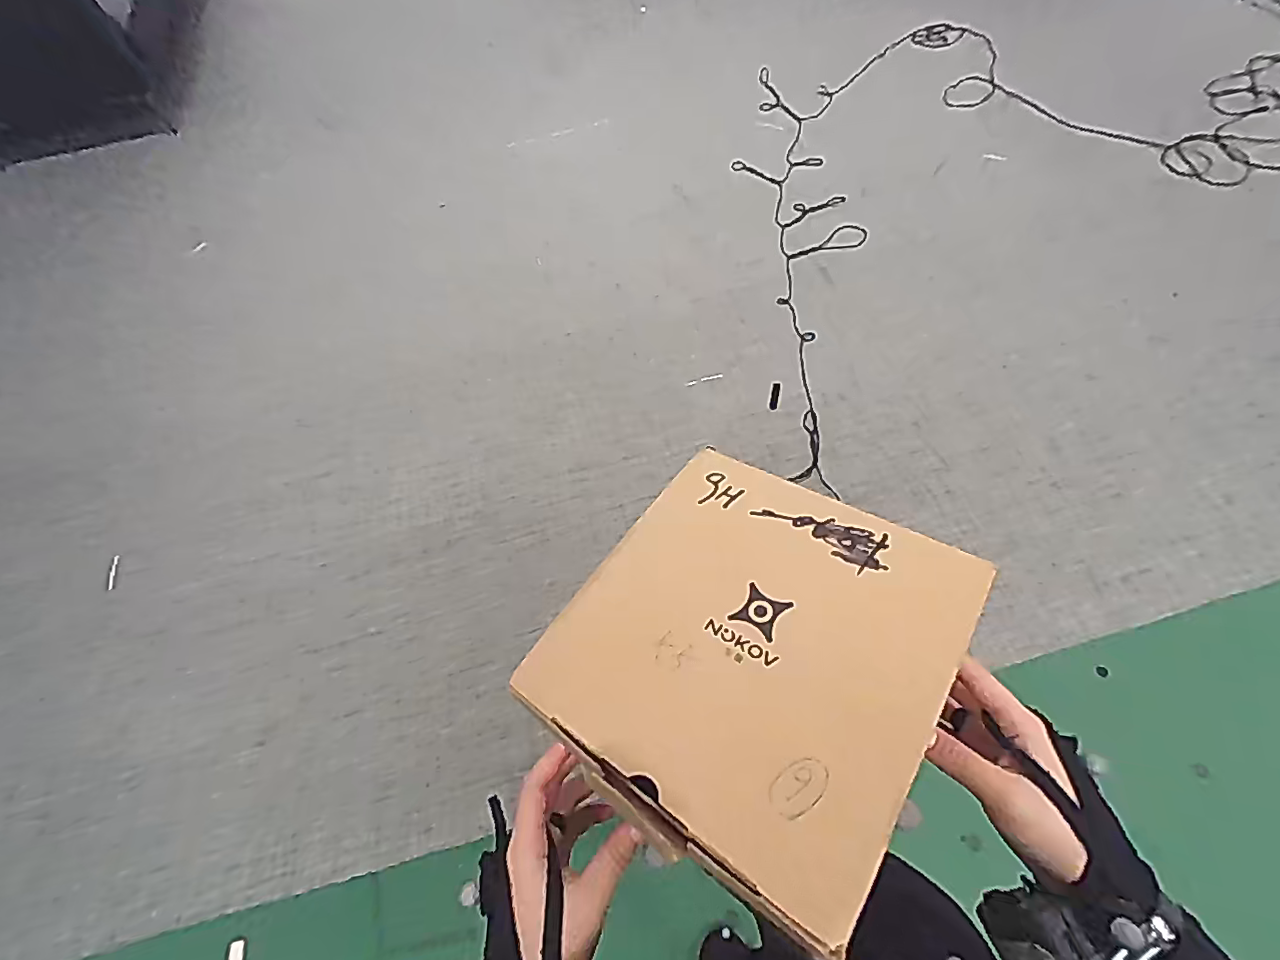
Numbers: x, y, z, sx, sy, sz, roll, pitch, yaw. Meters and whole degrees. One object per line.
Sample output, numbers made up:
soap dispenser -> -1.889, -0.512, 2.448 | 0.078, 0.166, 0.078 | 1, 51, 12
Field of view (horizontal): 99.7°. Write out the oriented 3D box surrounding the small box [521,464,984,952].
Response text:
small box -> 0.068, 0.128, 0.323 | 0.168, 0.176, 0.179 | 25, 60, 29
